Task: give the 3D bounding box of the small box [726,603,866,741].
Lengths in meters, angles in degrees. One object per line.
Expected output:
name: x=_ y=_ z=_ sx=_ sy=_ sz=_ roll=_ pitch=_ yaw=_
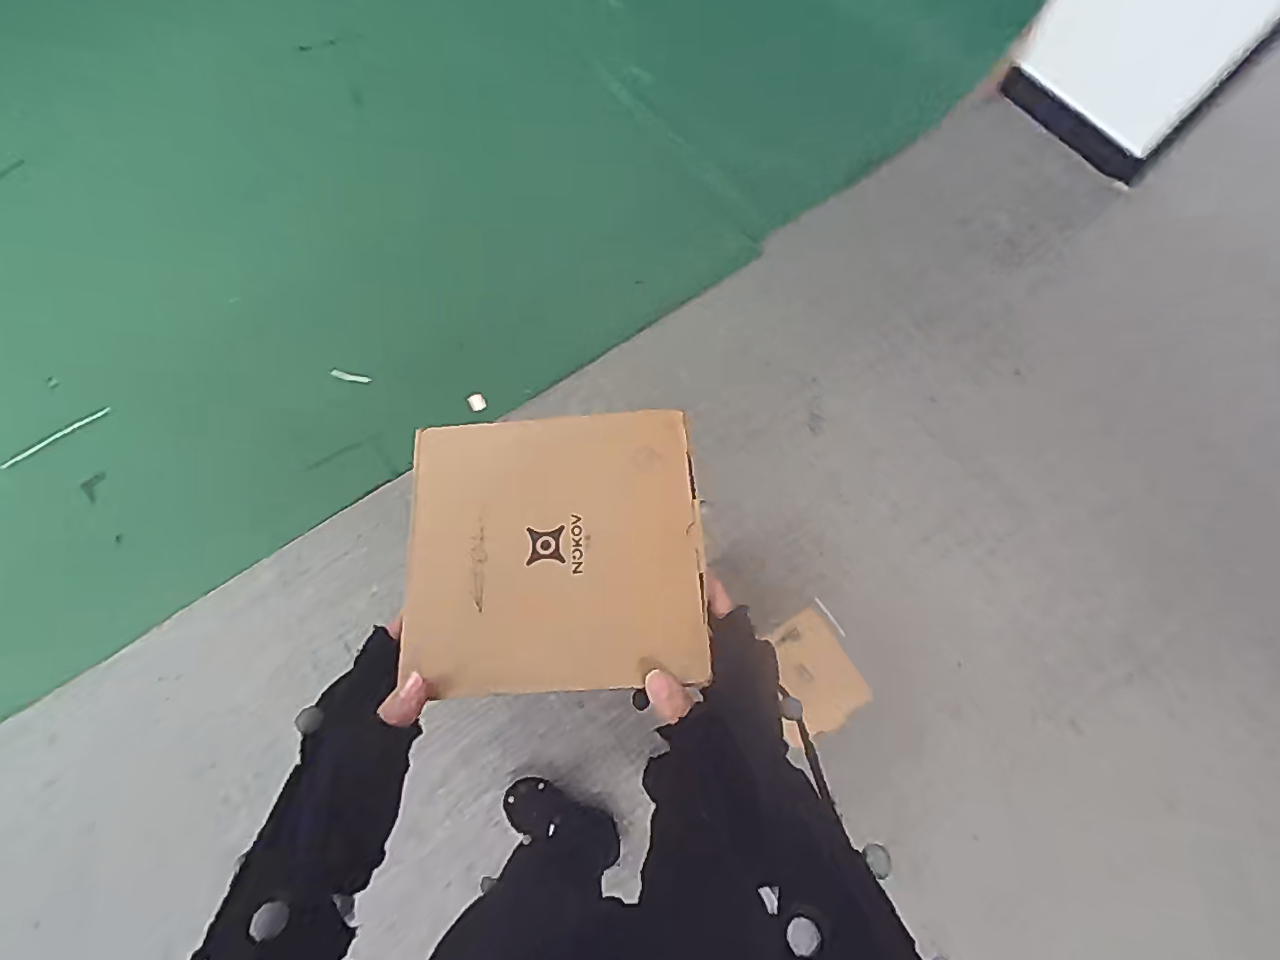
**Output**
small box: x=0.277 y=0.346 z=1.004 sx=0.168 sy=0.176 sz=0.179 roll=-30 pitch=75 yaw=-6
